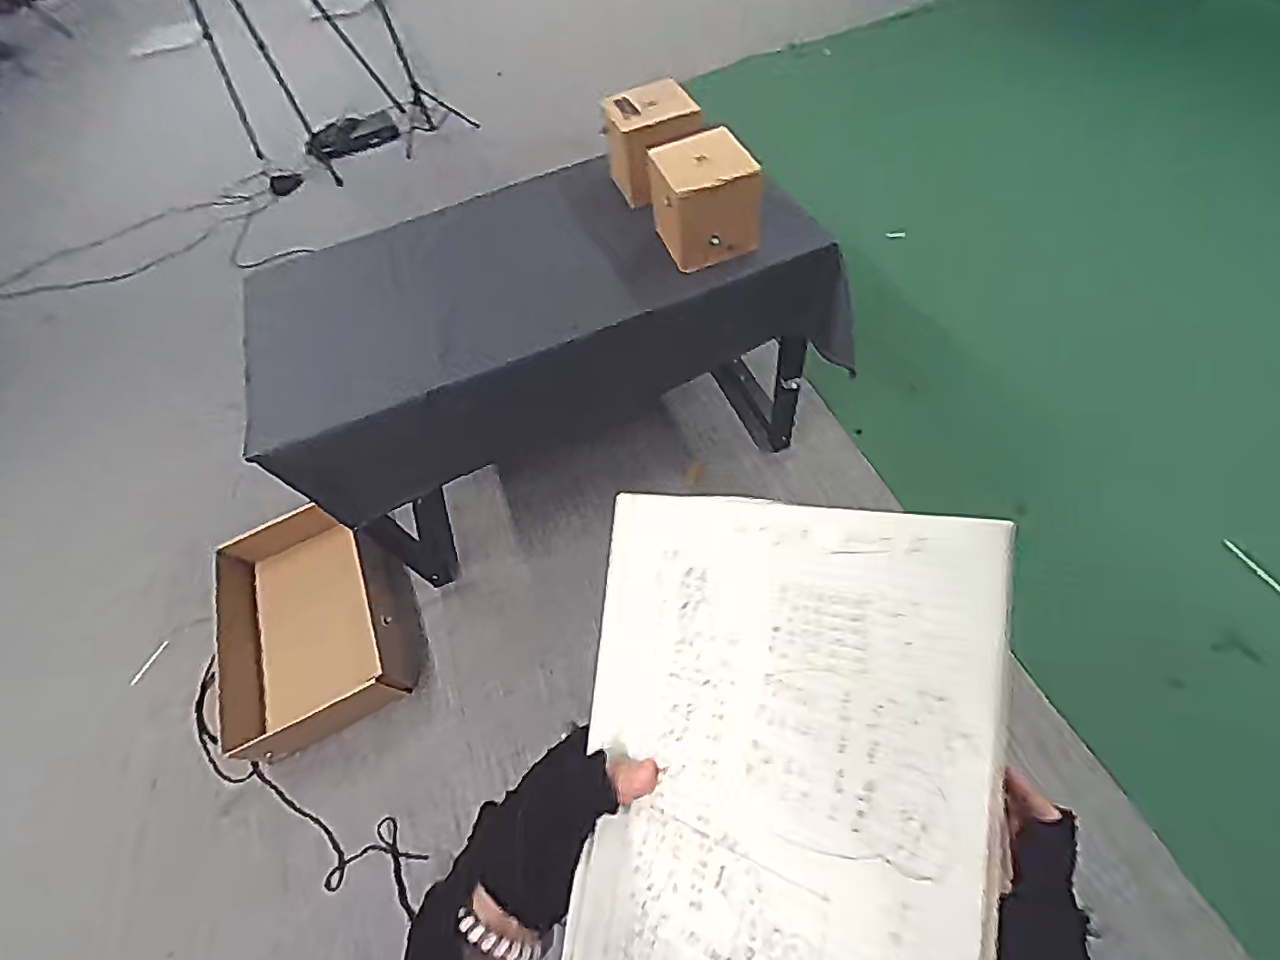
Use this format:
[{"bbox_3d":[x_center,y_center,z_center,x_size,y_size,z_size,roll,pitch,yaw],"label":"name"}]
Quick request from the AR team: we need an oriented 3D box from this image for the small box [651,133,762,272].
[{"bbox_3d":[0.129,-0.551,1.082,0.168,0.176,0.179,-19,57,-4],"label":"small box"}]

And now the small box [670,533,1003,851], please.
[{"bbox_3d":[0.126,0.145,0.395,0.179,0.176,0.168,1,67,12],"label":"small box"}]
